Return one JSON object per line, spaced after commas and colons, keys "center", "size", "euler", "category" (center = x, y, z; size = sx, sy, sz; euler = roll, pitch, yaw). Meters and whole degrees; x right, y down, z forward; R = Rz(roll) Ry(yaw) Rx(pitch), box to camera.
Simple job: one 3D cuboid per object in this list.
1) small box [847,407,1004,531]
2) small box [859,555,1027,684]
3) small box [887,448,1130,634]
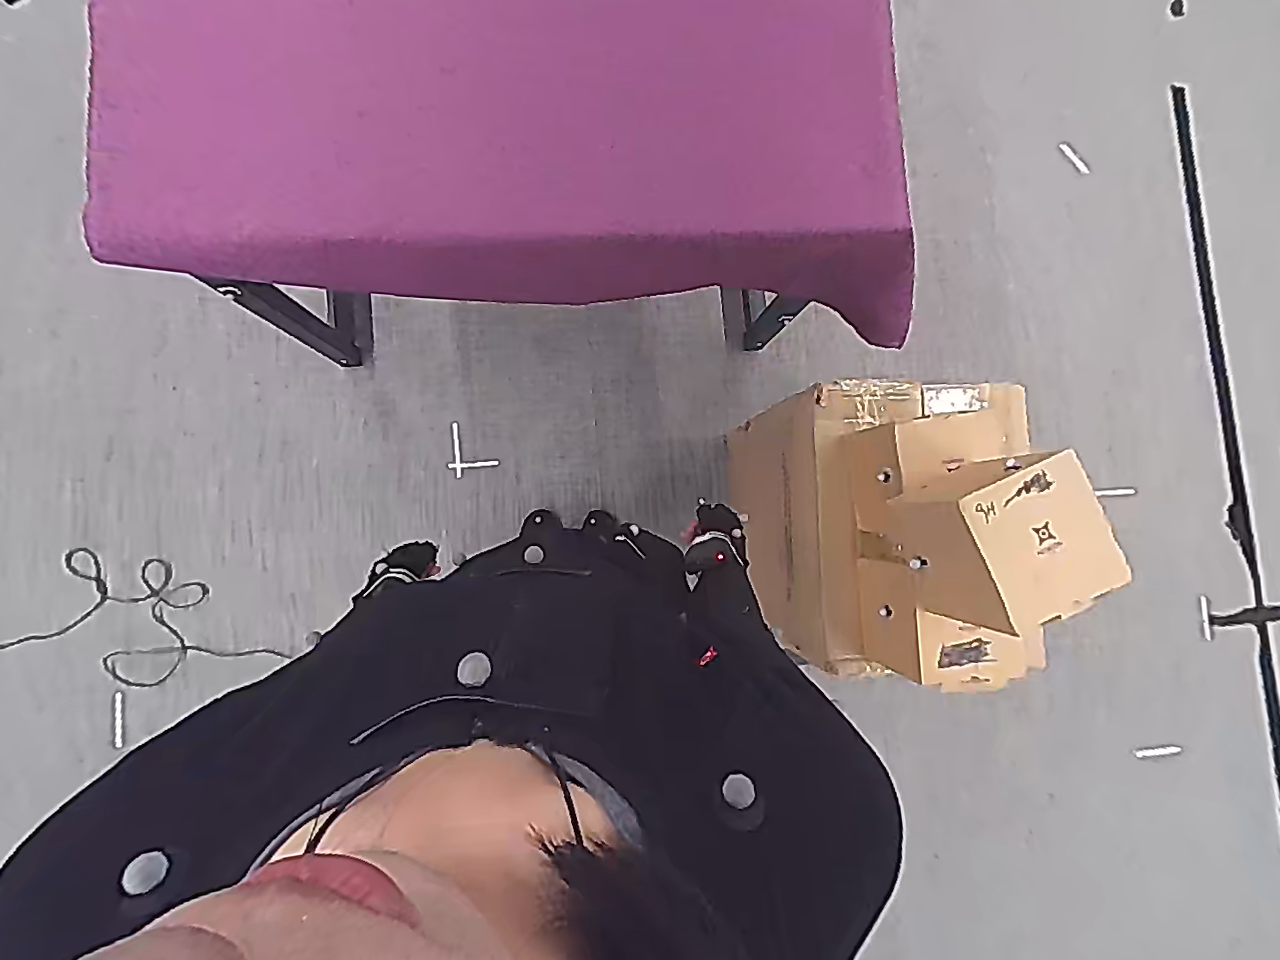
{"center": [0.458, -0.011, 0.883], "size": [0.168, 0.176, 0.179], "euler": [-7, 88, -5], "category": "small box"}
{"center": [0.472, 0.212, 0.866], "size": [0.168, 0.176, 0.179], "euler": [-2, 84, -5], "category": "small box"}
{"center": [0.467, 0.074, 0.712], "size": [0.168, 0.176, 0.179], "euler": [-23, 88, -7], "category": "small box"}
